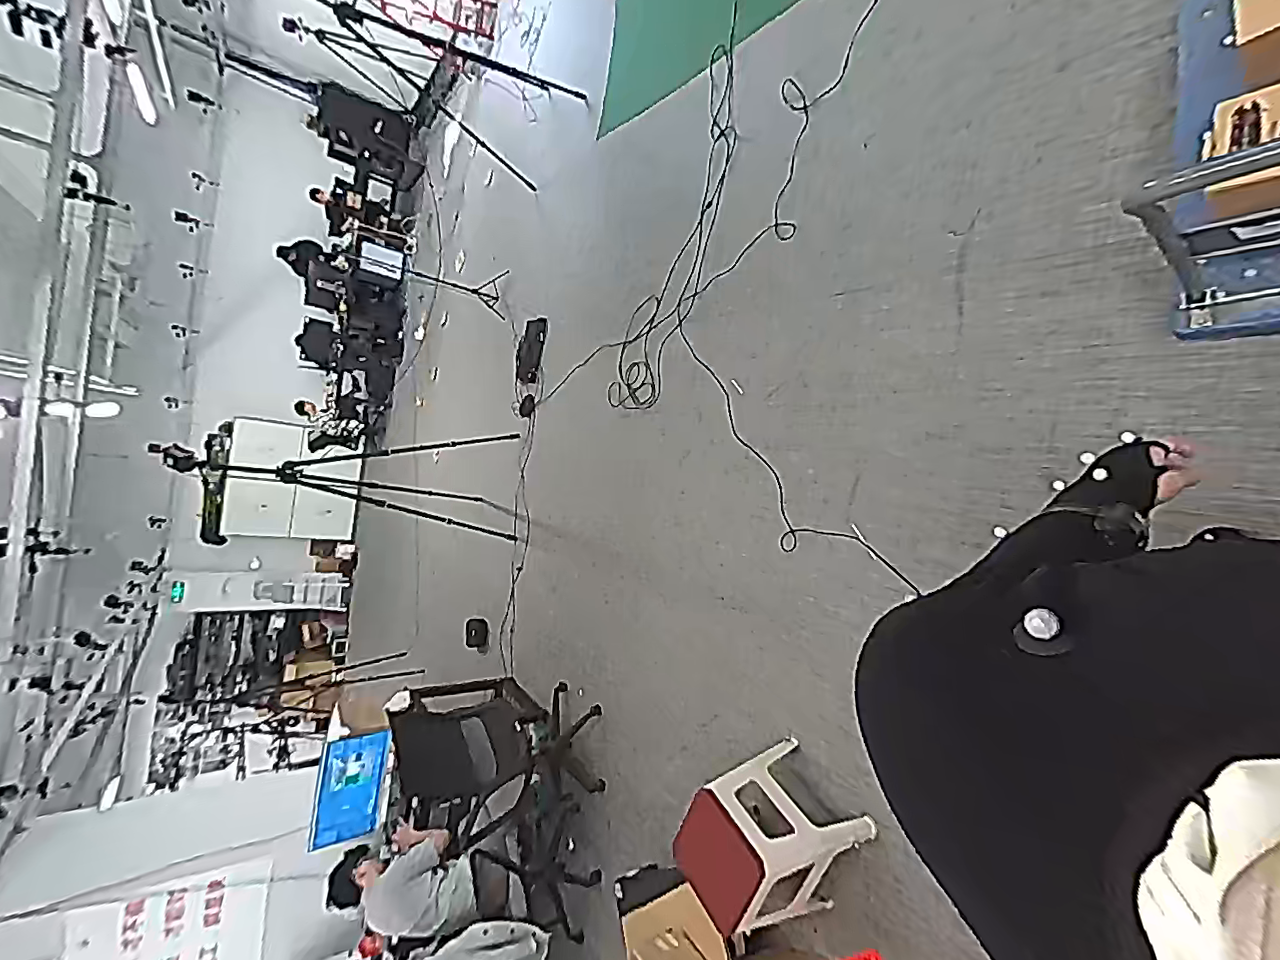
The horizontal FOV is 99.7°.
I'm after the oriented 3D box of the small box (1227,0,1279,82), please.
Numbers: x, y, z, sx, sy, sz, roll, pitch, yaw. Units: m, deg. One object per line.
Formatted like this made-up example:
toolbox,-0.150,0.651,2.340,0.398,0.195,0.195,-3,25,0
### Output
small box,1.188,-0.865,0.972,0.168,0.176,0.179,-5,81,52
